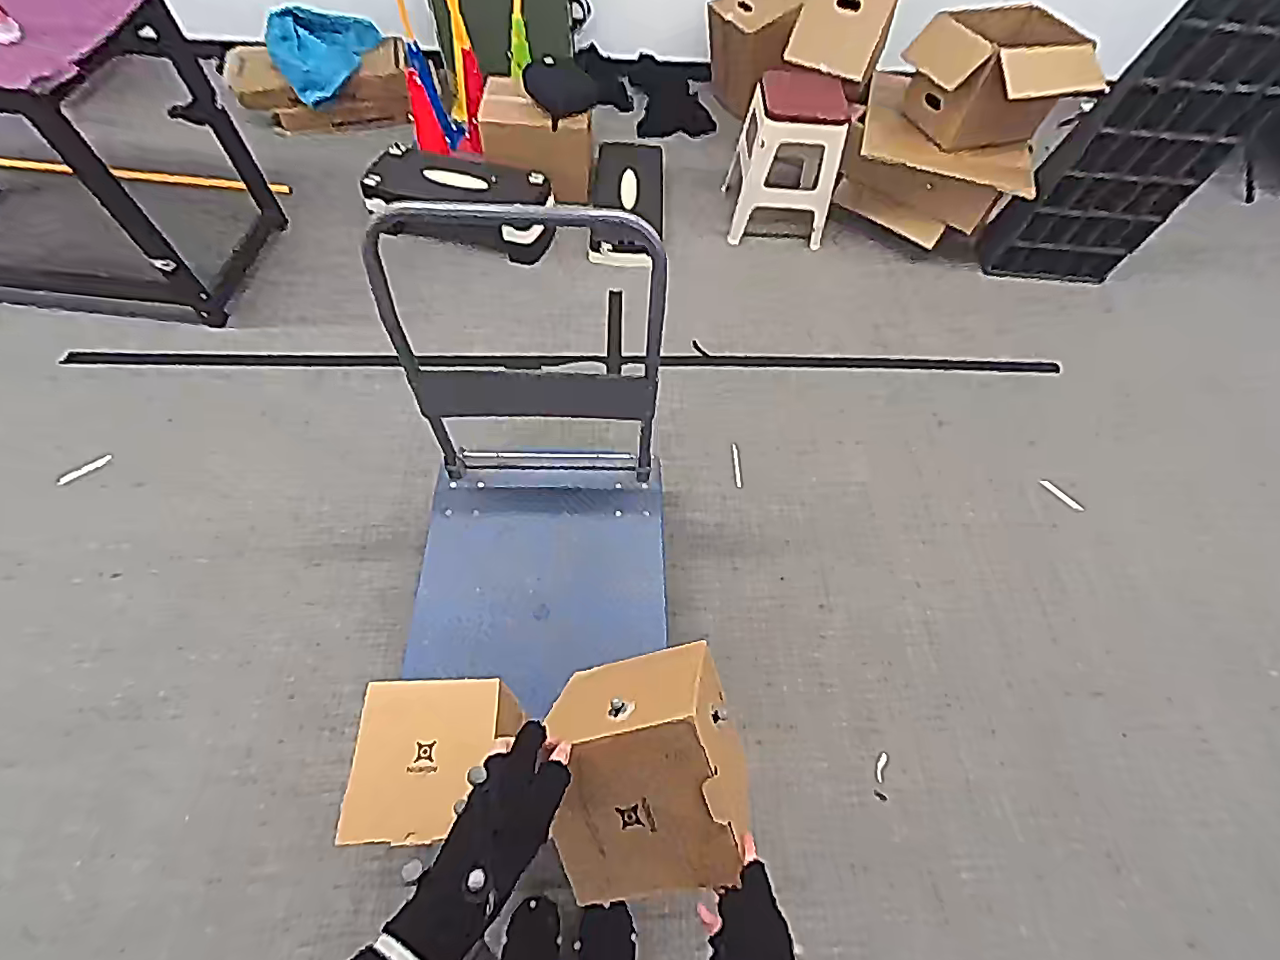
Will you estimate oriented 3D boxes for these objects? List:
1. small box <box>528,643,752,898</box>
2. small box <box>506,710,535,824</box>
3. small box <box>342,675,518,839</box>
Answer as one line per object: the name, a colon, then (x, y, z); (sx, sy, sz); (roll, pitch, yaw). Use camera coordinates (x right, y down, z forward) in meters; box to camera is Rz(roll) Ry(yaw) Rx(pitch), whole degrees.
small box: (0.011, 0.296, 0.580); (0.179, 0.176, 0.168); (-17, 95, 13)
small box: (-0.288, 0.531, 1.001); (0.168, 0.176, 0.179); (0, 60, -5)
small box: (-0.260, 0.367, 0.718); (0.168, 0.176, 0.179); (0, 61, -4)
